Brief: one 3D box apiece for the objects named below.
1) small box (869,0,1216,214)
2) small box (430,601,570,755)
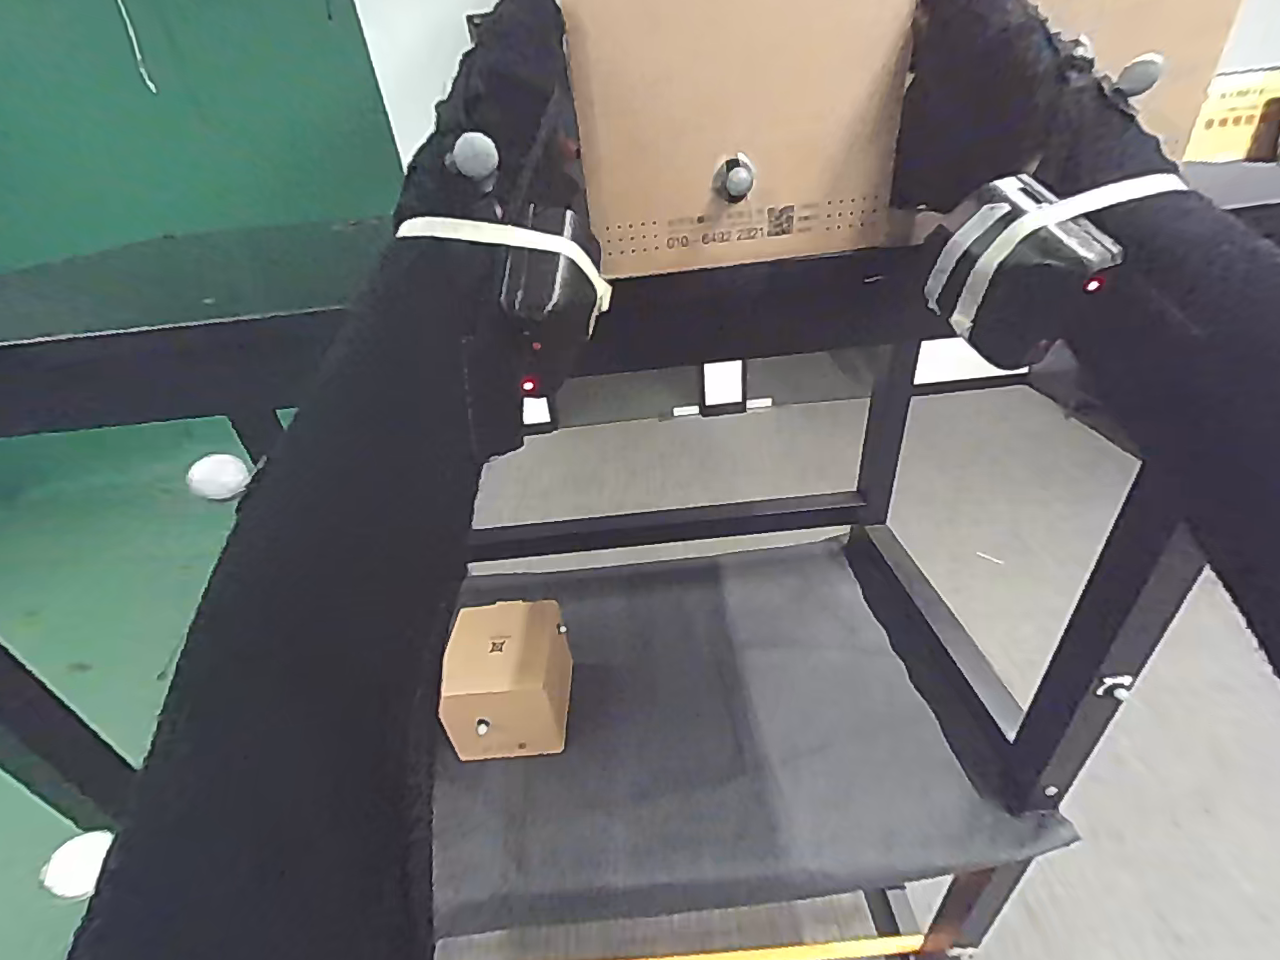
[{"bbox_3d":[0.284,-0.307,0.414,0.168,0.176,0.179,0,33,11],"label":"small box"},{"bbox_3d":[-0.213,0.325,0.880,0.168,0.176,0.179,-5,32,2],"label":"small box"}]
